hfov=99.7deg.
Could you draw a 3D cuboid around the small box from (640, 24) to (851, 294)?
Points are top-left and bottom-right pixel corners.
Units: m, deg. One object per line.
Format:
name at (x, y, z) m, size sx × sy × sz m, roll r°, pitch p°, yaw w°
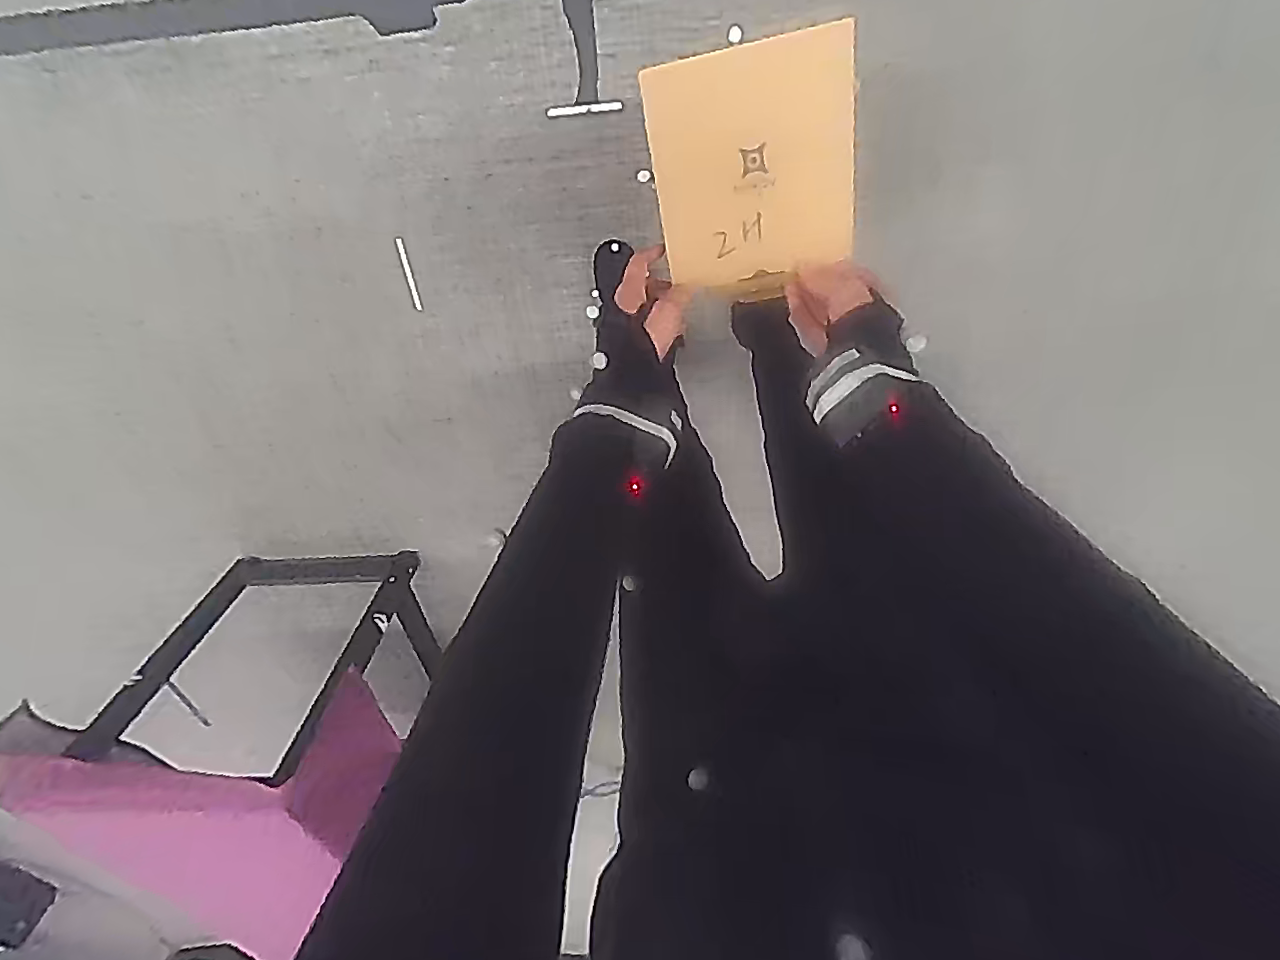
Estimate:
small box at (0.094, -0.303, 0.522) m, size 0.168 × 0.176 × 0.179 m, roll -8°, pitch 126°, yaw 8°
